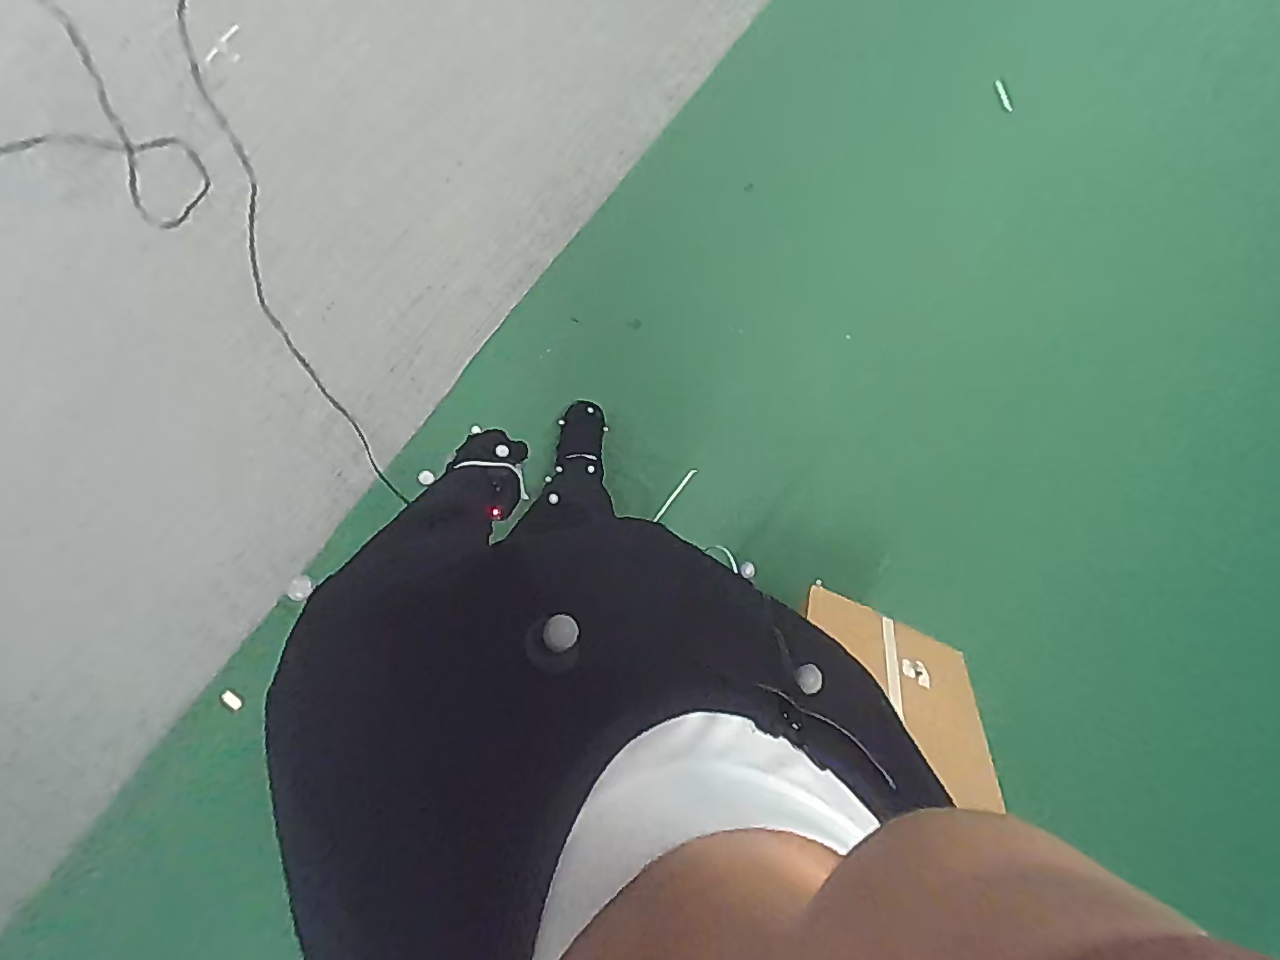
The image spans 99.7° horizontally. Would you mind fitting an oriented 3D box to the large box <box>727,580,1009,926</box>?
[{"bbox_3d":[0.380,0.463,0.988,0.320,0.408,0.320,25,118,10],"label":"large box"}]
